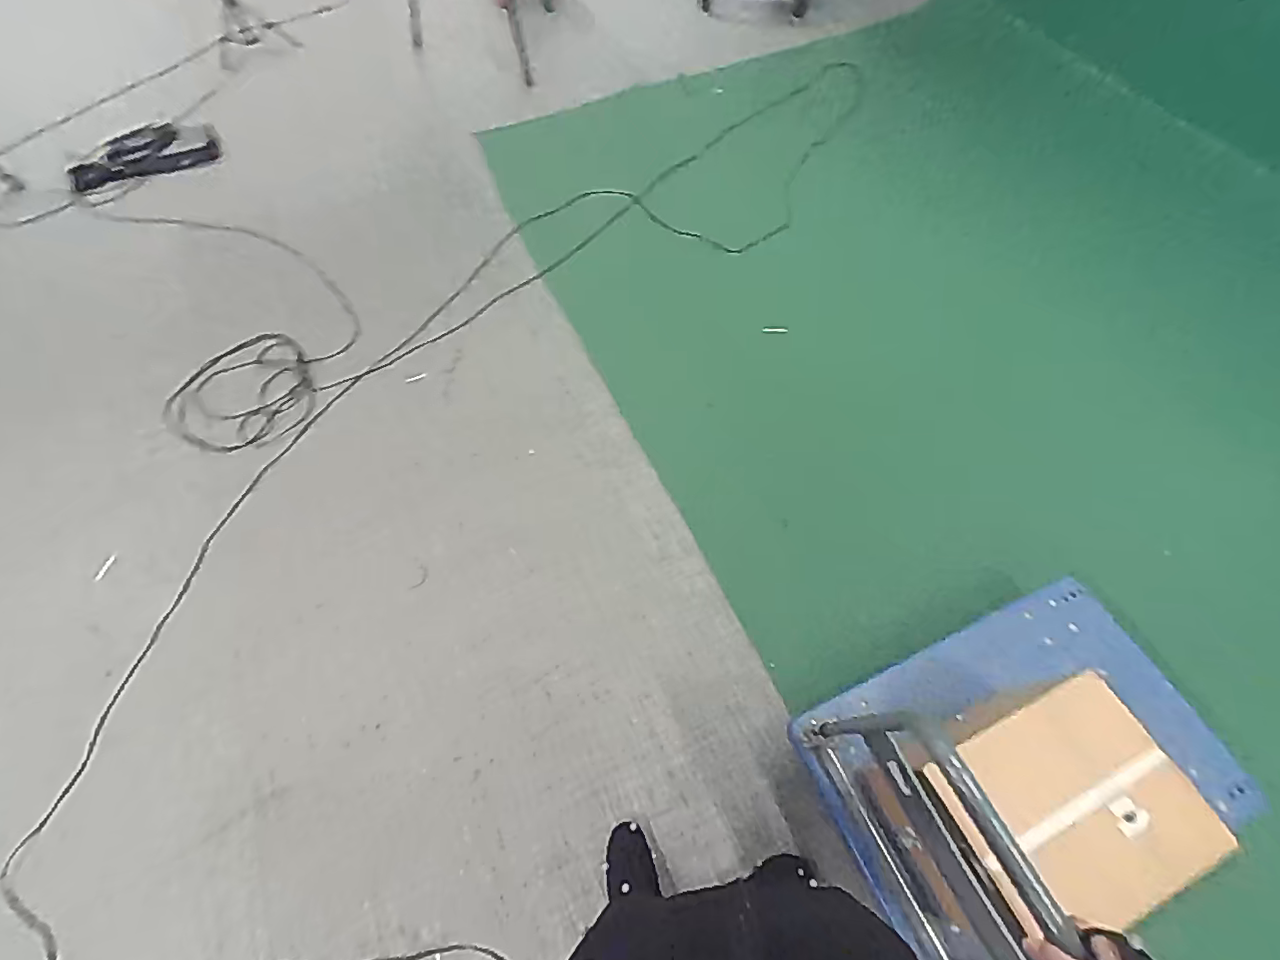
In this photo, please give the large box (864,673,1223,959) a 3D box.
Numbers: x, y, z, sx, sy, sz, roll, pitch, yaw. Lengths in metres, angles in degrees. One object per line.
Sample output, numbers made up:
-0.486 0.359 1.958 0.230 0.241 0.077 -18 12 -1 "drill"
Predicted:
0.737 0.637 1.060 0.408 0.320 0.320 -22 64 -11 "large box"
